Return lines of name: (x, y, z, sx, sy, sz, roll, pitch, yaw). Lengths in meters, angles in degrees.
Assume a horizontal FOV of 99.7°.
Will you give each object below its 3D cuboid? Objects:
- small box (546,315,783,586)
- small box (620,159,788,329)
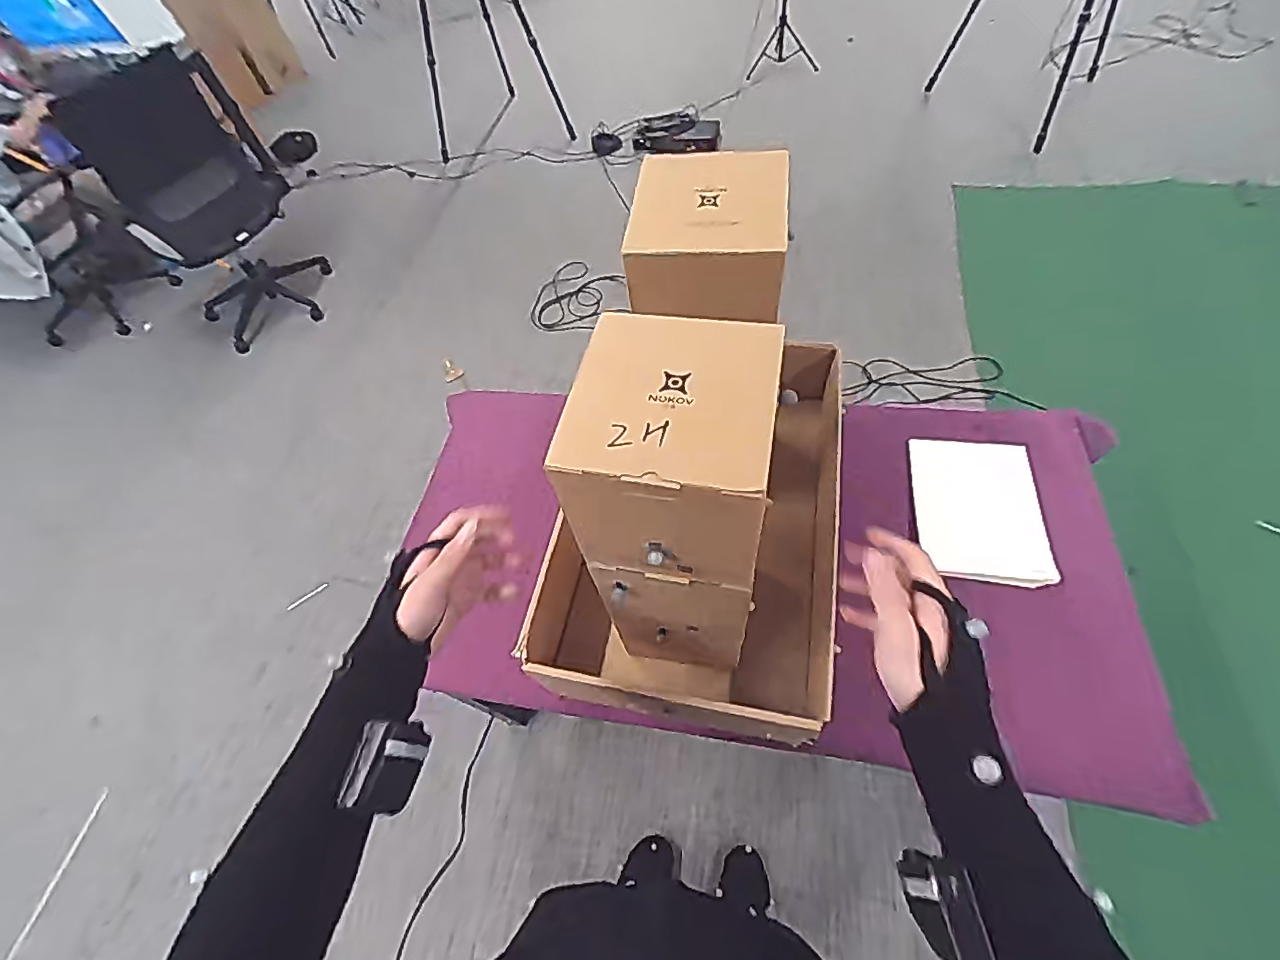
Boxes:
small box: (0.032, -0.025, 0.502, 0.168, 0.176, 0.179, 8, 58, 12)
small box: (0.080, -0.251, 0.646, 0.168, 0.176, 0.179, 4, 60, 10)
